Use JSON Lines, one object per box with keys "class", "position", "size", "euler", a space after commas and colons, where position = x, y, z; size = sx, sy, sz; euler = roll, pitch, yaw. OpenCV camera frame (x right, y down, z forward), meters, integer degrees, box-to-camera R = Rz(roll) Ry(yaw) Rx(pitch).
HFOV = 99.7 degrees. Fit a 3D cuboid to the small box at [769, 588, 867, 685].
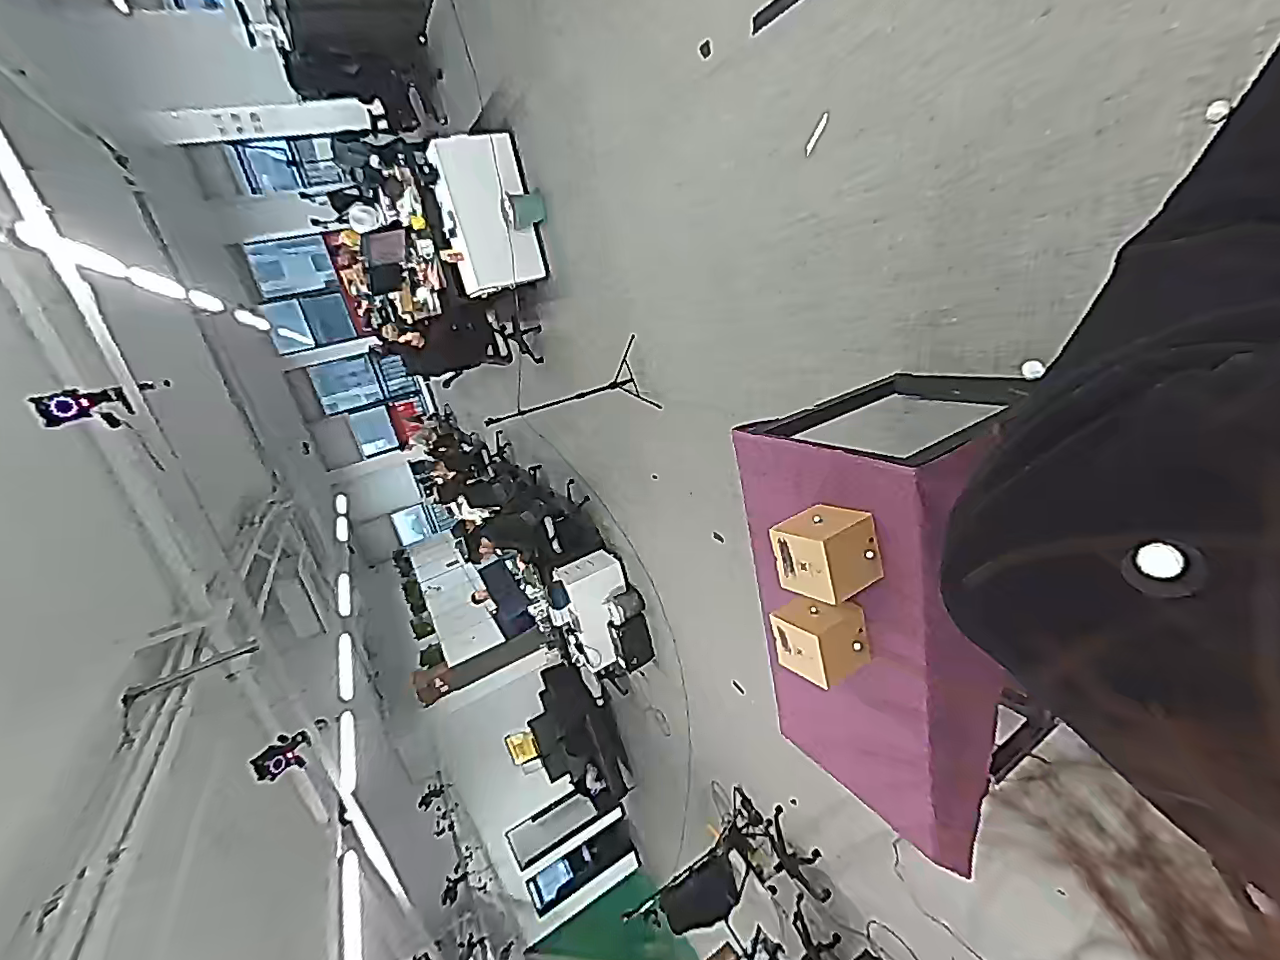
{"class": "small box", "position": [0.482, 0.414, 1.464], "size": [0.179, 0.176, 0.168], "euler": [14, 123, 61]}
